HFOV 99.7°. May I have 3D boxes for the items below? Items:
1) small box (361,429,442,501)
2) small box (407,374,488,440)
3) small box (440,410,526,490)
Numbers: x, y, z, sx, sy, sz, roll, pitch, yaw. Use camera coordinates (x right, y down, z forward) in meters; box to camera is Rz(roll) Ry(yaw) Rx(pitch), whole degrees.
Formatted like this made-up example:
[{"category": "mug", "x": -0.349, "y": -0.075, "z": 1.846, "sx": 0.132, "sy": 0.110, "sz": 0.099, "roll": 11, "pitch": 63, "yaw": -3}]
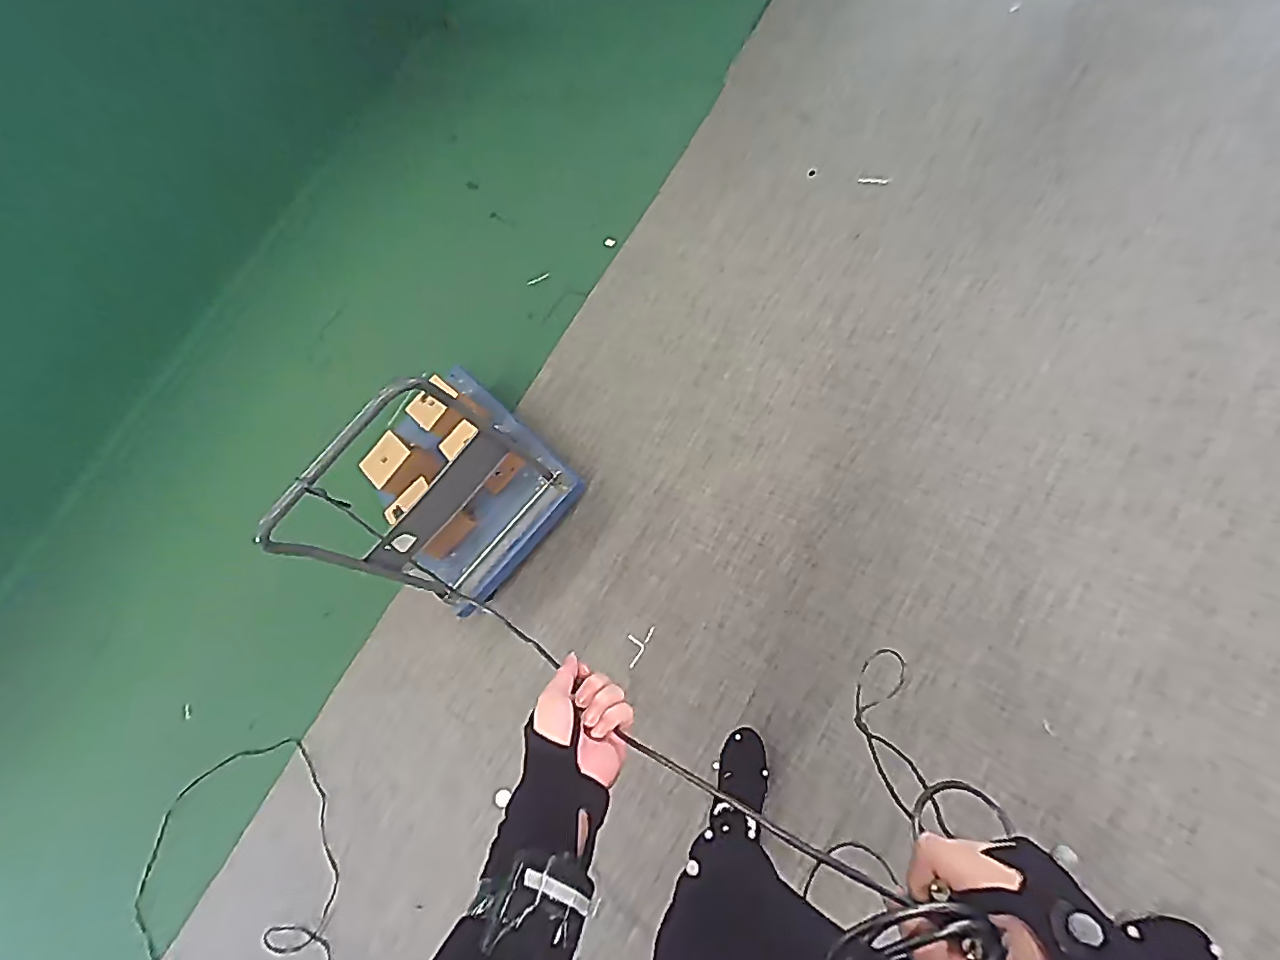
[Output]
[{"category": "small box", "x": -0.840, "y": -0.046, "z": 1.920, "sx": 0.179, "sy": 0.176, "sz": 0.168, "roll": 37, "pitch": 86, "yaw": 34}, {"category": "small box", "x": -0.684, "y": -0.243, "z": 1.932, "sx": 0.179, "sy": 0.176, "sz": 0.168, "roll": 37, "pitch": 88, "yaw": 33}, {"category": "small box", "x": -0.514, "y": -0.093, "z": 1.784, "sx": 0.168, "sy": 0.176, "sz": 0.179, "roll": -47, "pitch": 57, "yaw": 0}]
